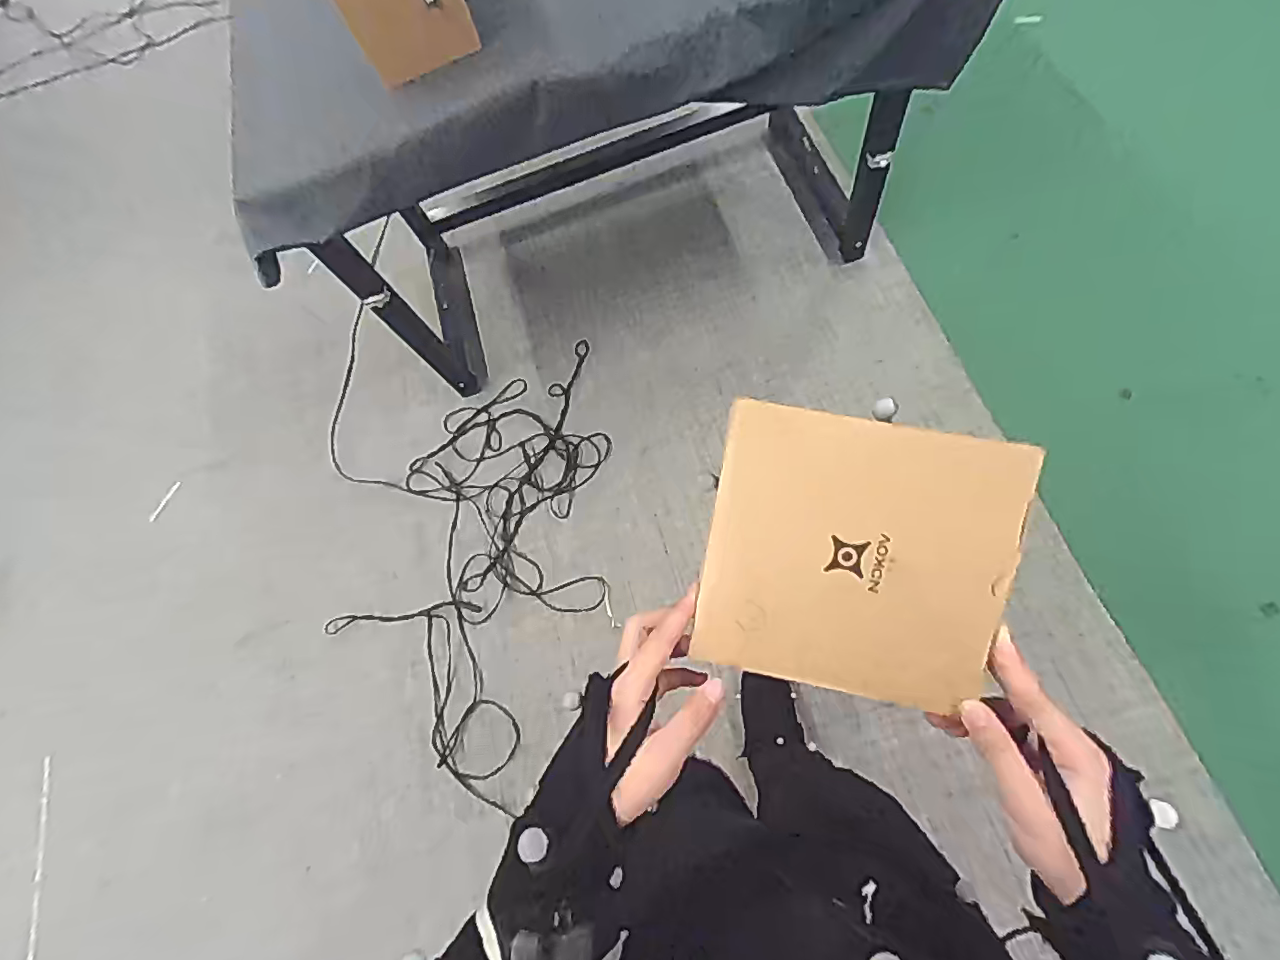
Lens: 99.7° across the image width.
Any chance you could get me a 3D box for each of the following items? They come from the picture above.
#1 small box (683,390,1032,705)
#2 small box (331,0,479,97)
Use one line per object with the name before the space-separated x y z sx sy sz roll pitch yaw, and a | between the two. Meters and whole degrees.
small box | 0.136 0.033 0.402 0.179 0.176 0.168 10 97 7
small box | -0.370 -0.756 0.845 0.179 0.176 0.168 -22 67 3
